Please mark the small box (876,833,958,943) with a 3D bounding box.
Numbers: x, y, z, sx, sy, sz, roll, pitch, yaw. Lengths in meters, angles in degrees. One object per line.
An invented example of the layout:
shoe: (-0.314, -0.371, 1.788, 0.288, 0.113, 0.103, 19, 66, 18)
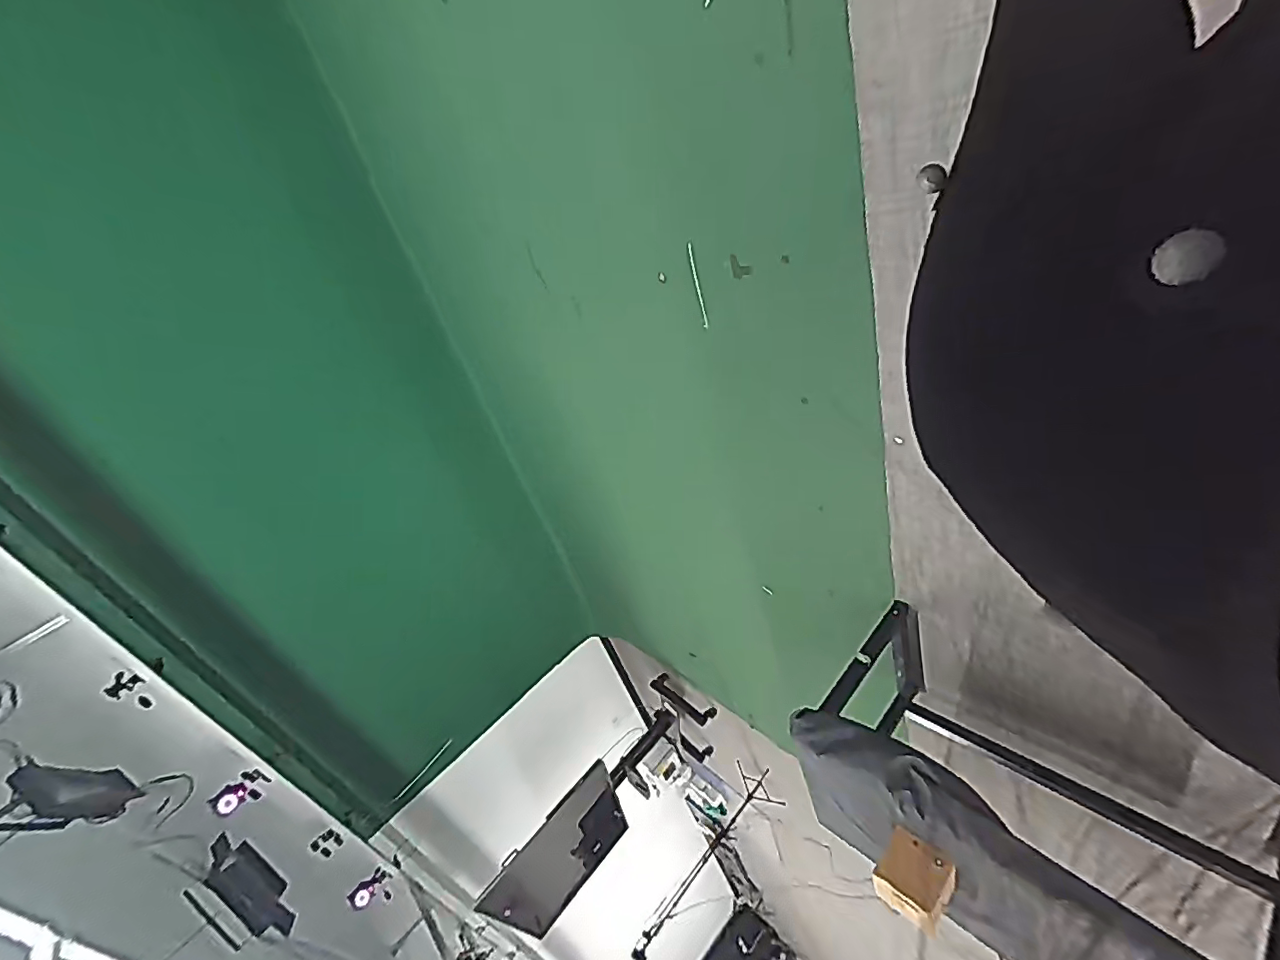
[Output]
small box: (0.818, 1.192, 1.593, 0.168, 0.176, 0.179, 18, 139, 46)
